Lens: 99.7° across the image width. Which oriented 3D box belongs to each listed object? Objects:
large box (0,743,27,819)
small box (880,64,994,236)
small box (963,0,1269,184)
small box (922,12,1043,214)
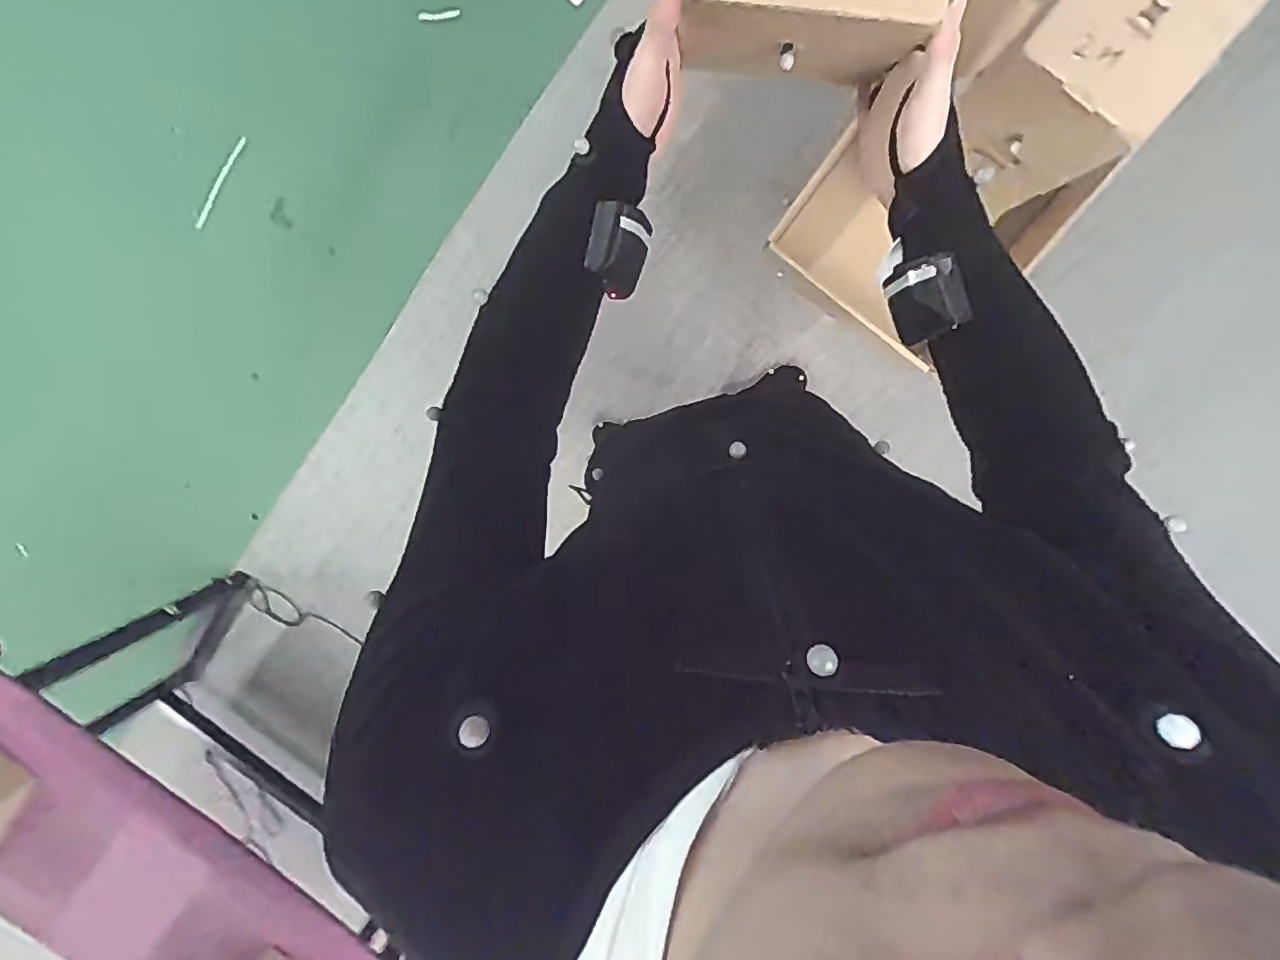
[{"bbox_3d":[-1.653,0.746,1.134,0.320,0.320,0.408,41,104,-5],"label":"large box"},{"bbox_3d":[0.560,-0.559,0.949,0.179,0.176,0.168,38,103,-3],"label":"small box"},{"bbox_3d":[0.528,-0.491,0.629,0.168,0.176,0.179,38,104,-2],"label":"small box"},{"bbox_3d":[0.548,-0.527,0.788,0.168,0.176,0.179,40,102,-4],"label":"small box"}]
